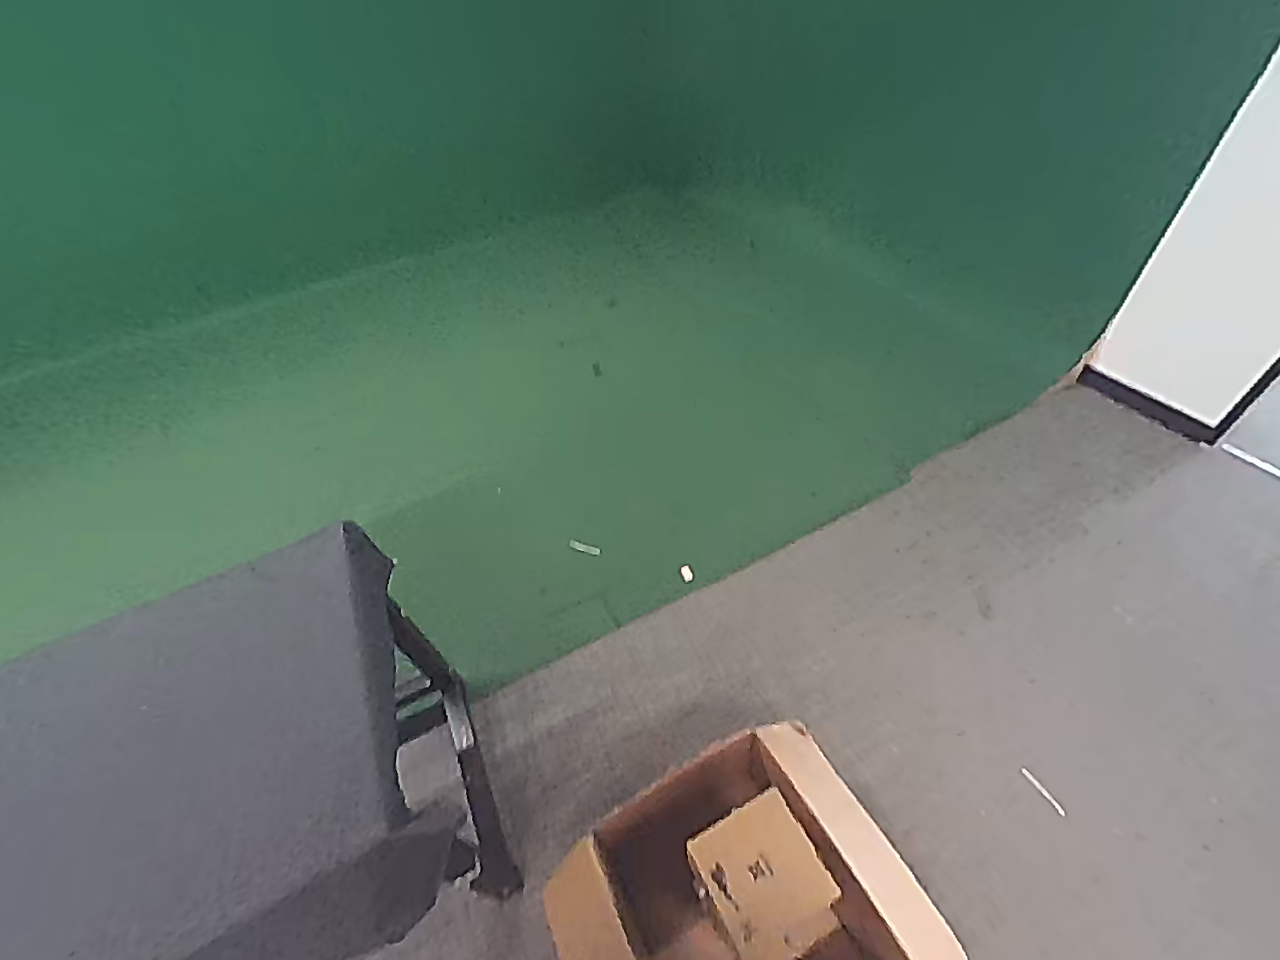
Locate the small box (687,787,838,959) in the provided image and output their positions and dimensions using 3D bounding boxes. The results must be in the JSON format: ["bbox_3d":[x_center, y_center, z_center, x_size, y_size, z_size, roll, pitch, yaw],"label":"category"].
[{"bbox_3d":[0.188,0.647,0.892,0.179,0.176,0.168,-22,50,-15],"label":"small box"}]
